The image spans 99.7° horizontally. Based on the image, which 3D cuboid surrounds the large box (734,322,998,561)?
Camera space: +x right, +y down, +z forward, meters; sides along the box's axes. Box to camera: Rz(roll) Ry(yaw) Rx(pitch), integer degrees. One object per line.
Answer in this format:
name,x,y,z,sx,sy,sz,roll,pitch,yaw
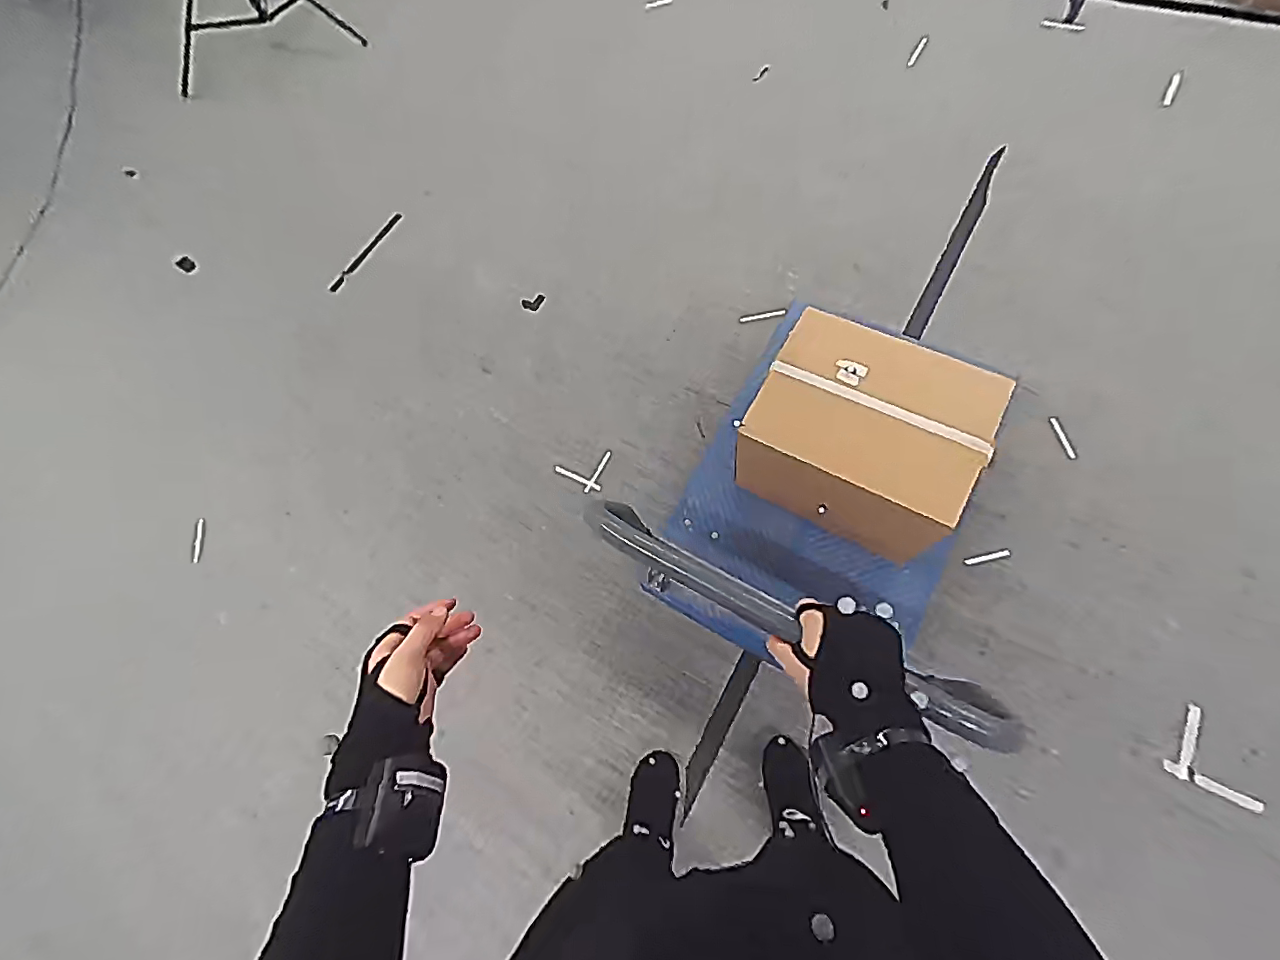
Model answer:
large box,0.449,-0.071,1.160,0.408,0.320,0.320,26,74,18
